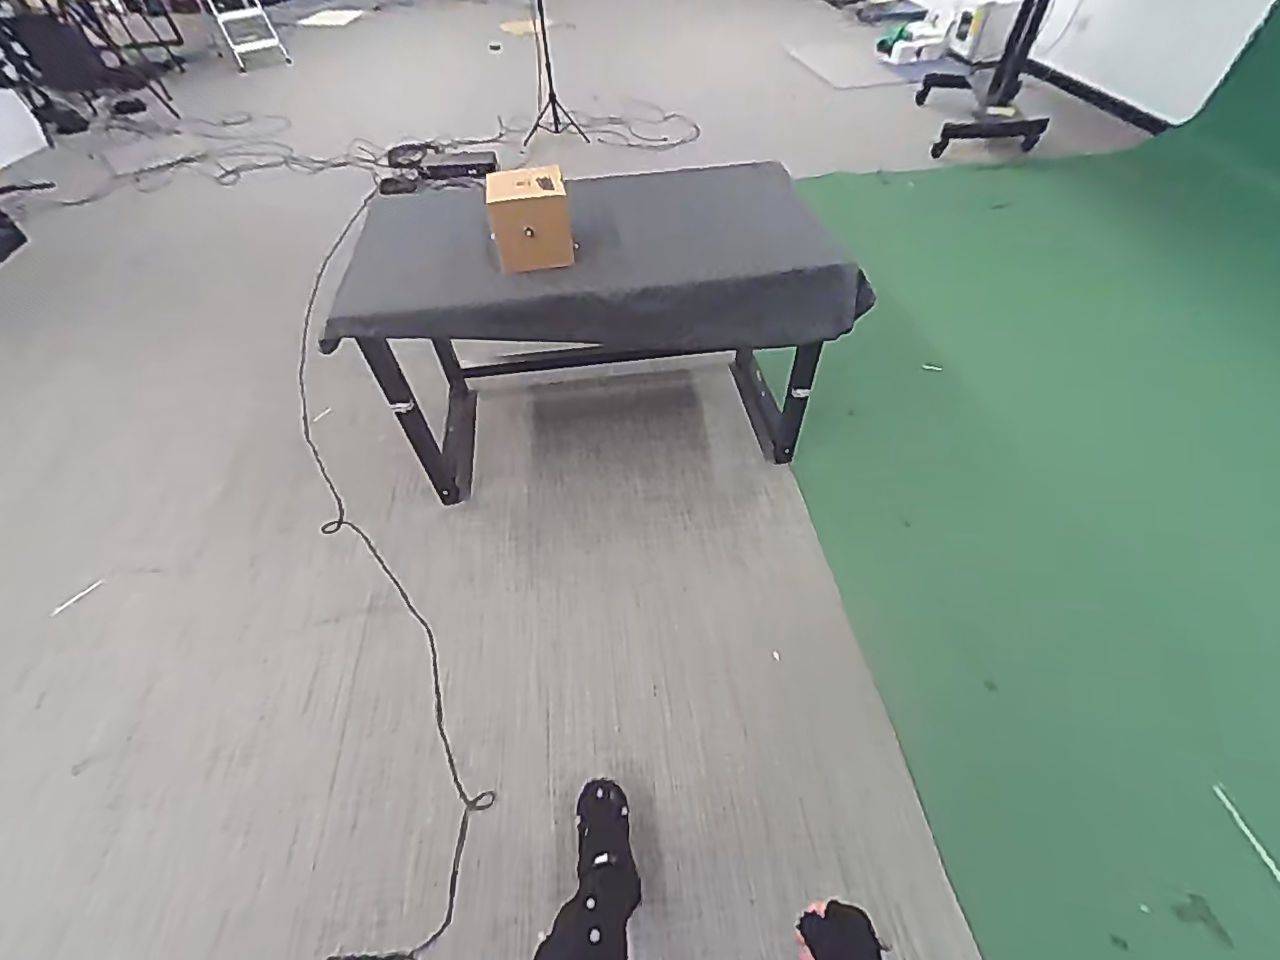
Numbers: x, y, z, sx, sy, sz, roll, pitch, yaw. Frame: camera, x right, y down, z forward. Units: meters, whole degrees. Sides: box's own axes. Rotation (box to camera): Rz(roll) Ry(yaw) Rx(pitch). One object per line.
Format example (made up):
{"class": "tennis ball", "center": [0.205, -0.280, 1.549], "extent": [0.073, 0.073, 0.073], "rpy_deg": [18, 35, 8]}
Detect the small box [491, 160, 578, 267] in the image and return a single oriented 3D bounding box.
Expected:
{"class": "small box", "center": [-0.245, -0.627, 1.279], "extent": [0.179, 0.176, 0.168], "rpy_deg": [-10, 52, -8]}
